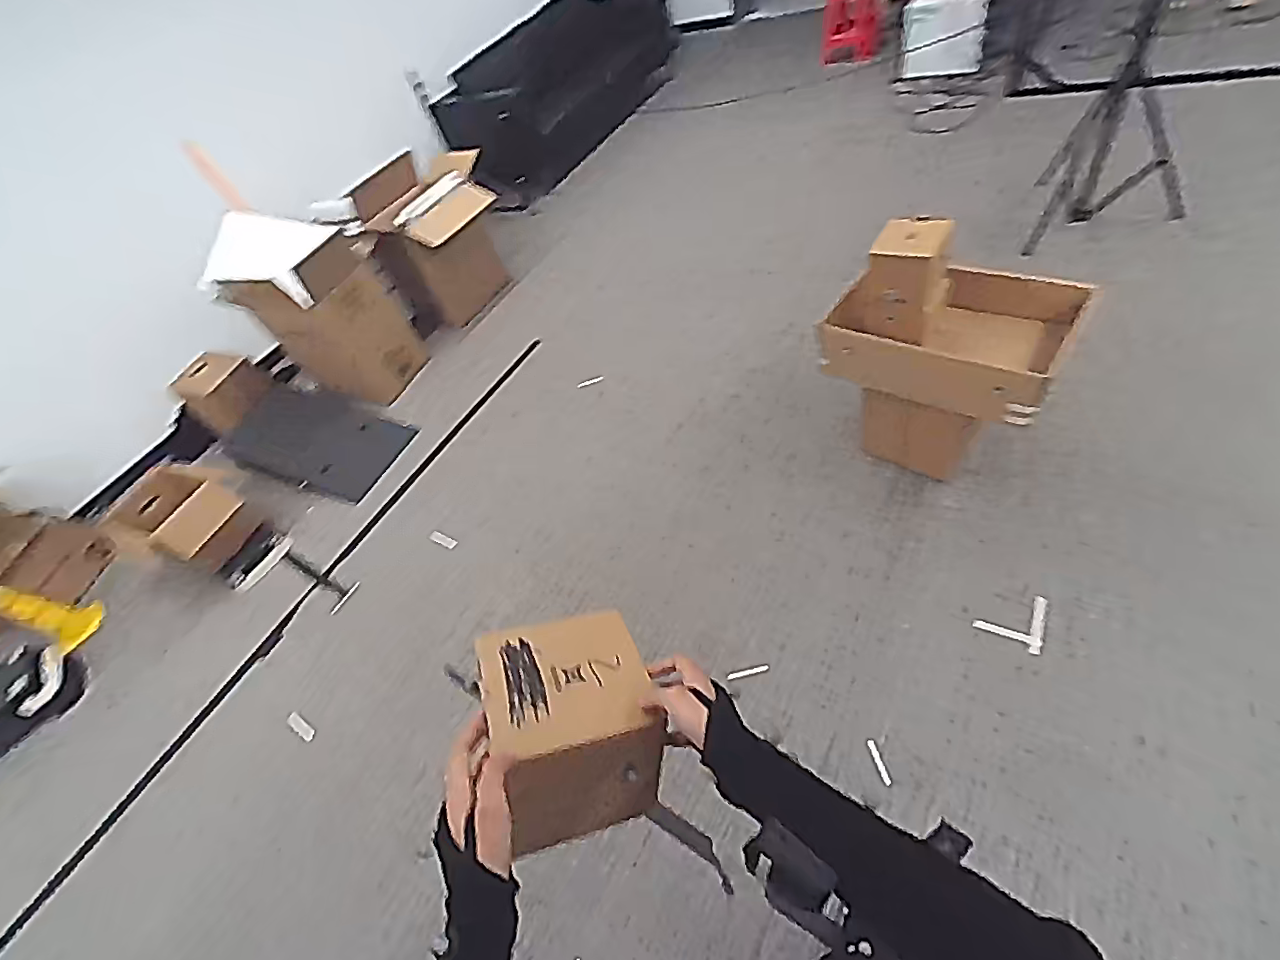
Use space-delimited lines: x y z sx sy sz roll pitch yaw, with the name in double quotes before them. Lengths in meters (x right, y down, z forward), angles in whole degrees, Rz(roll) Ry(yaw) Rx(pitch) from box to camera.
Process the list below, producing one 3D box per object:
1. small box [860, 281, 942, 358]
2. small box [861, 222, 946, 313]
"small box" 0.783 -0.494 1.639 0.179 0.176 0.168 23 63 32
"small box" 0.734 -0.599 1.522 0.168 0.176 0.179 20 60 32
